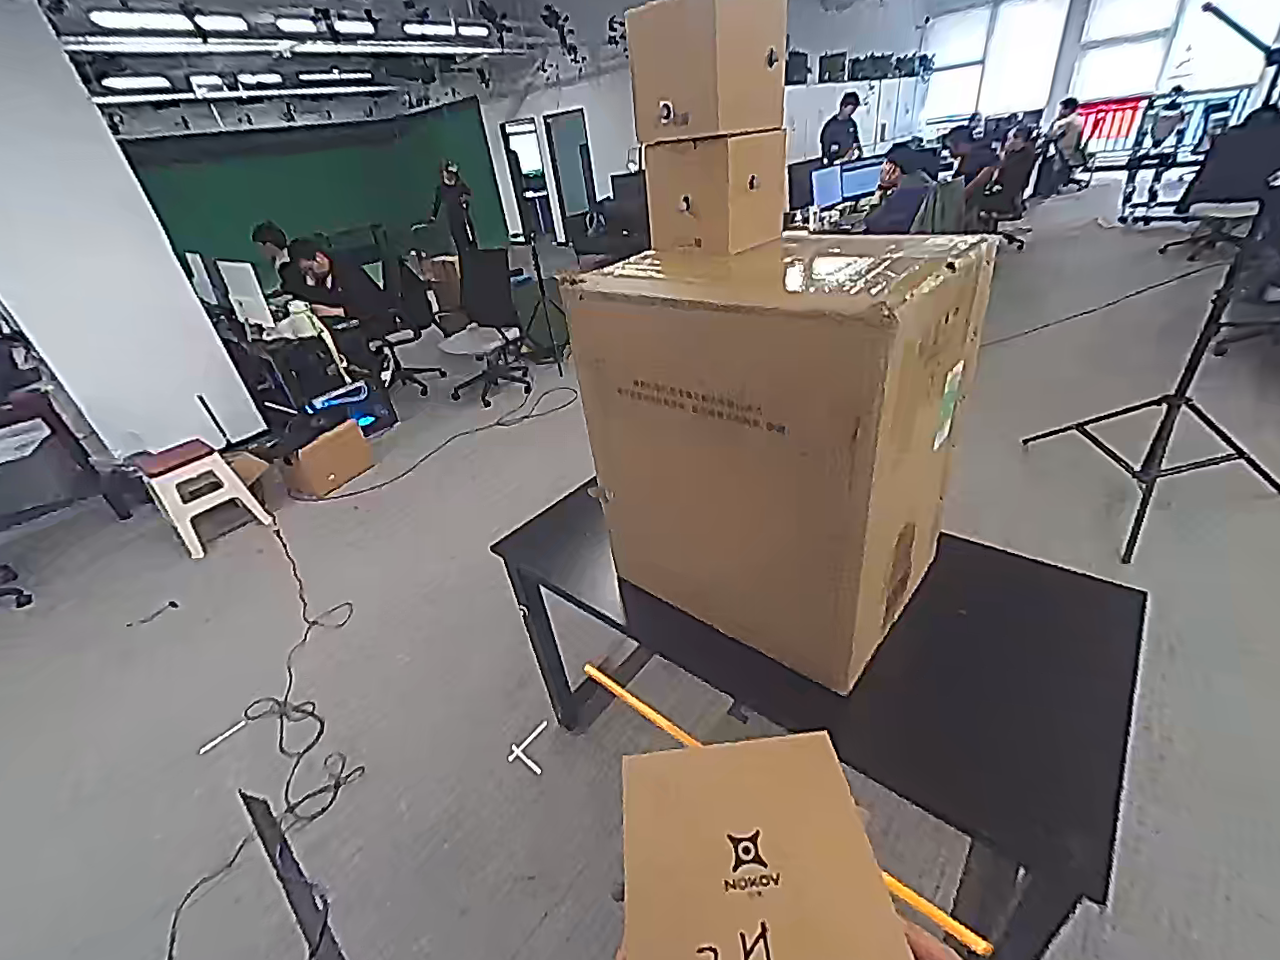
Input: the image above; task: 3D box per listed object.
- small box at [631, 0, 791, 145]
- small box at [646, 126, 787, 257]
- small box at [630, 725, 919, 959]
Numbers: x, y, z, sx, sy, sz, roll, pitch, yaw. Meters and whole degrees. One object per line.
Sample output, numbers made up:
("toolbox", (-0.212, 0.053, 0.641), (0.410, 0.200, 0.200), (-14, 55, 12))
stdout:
("small box", (0.109, -0.614, 0.818), (0.168, 0.176, 0.179), (22, 42, 39))
("small box", (0.134, -0.484, 0.916), (0.168, 0.176, 0.179), (21, 42, 36))
("small box", (0.084, 0.316, 0.400), (0.168, 0.176, 0.179), (-8, 31, 2))
